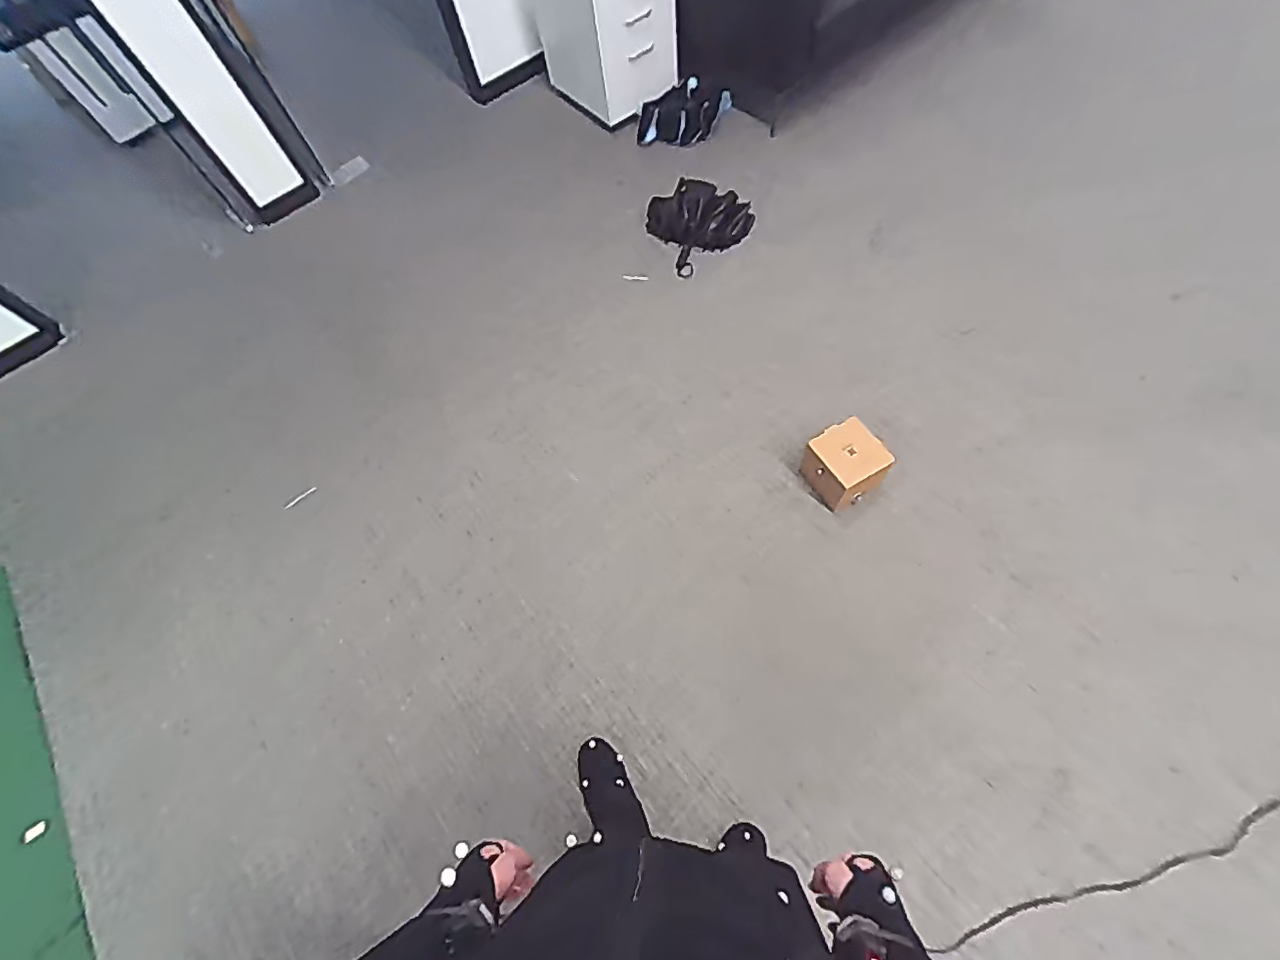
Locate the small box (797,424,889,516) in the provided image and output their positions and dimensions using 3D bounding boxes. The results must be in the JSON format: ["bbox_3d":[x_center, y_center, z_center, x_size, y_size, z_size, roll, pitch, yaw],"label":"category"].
[{"bbox_3d":[0.579,-0.024,1.573,0.168,0.176,0.179,-29,65,-8],"label":"small box"}]
